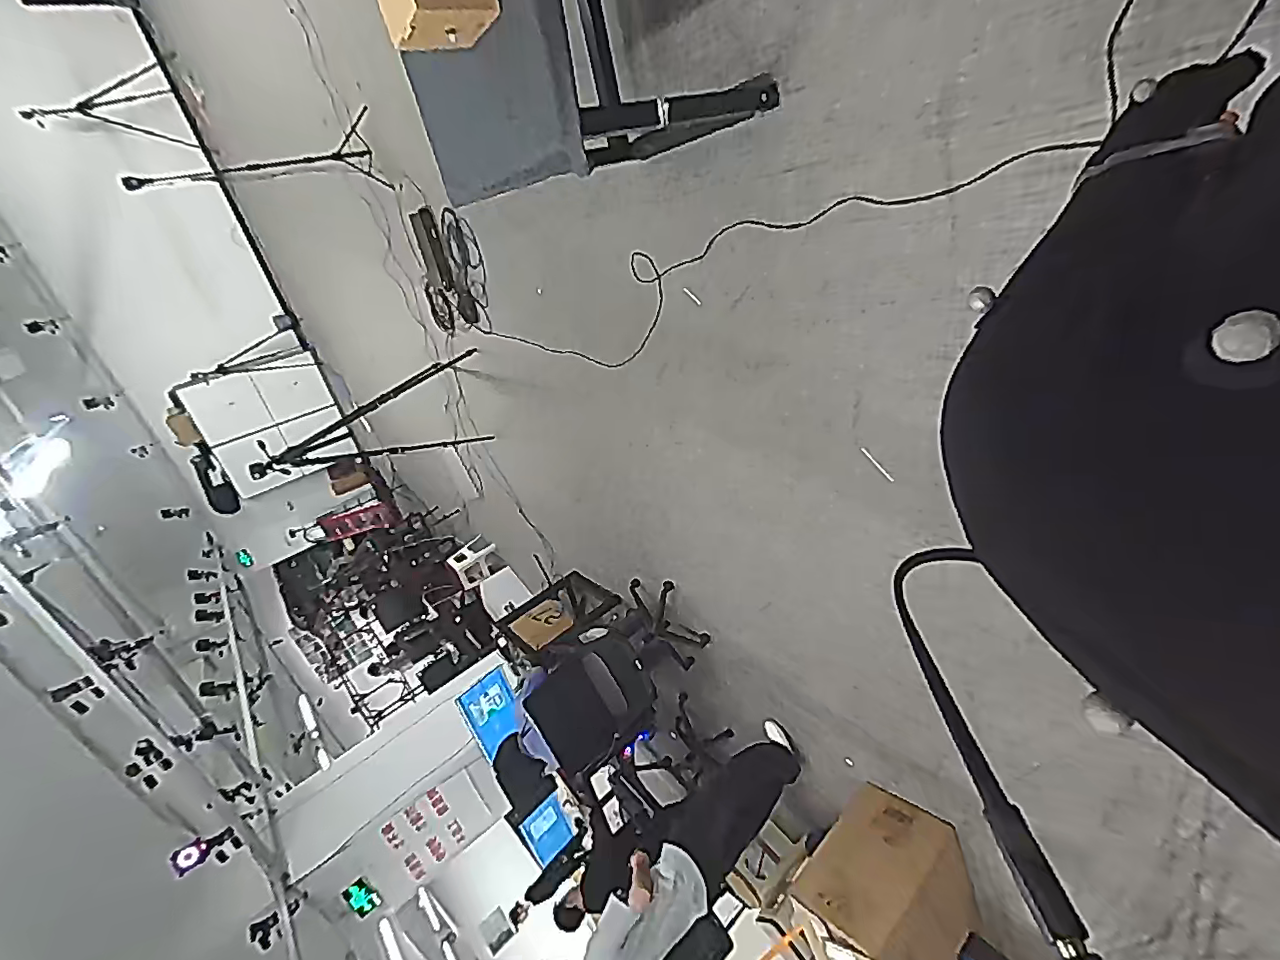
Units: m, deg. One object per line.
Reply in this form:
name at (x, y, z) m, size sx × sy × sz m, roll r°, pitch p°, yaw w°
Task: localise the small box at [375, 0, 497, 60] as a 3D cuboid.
small box at (-0.396, -0.937, 1.023) m, size 0.168 × 0.176 × 0.179 m, roll 17°, pitch 130°, yaw 51°
